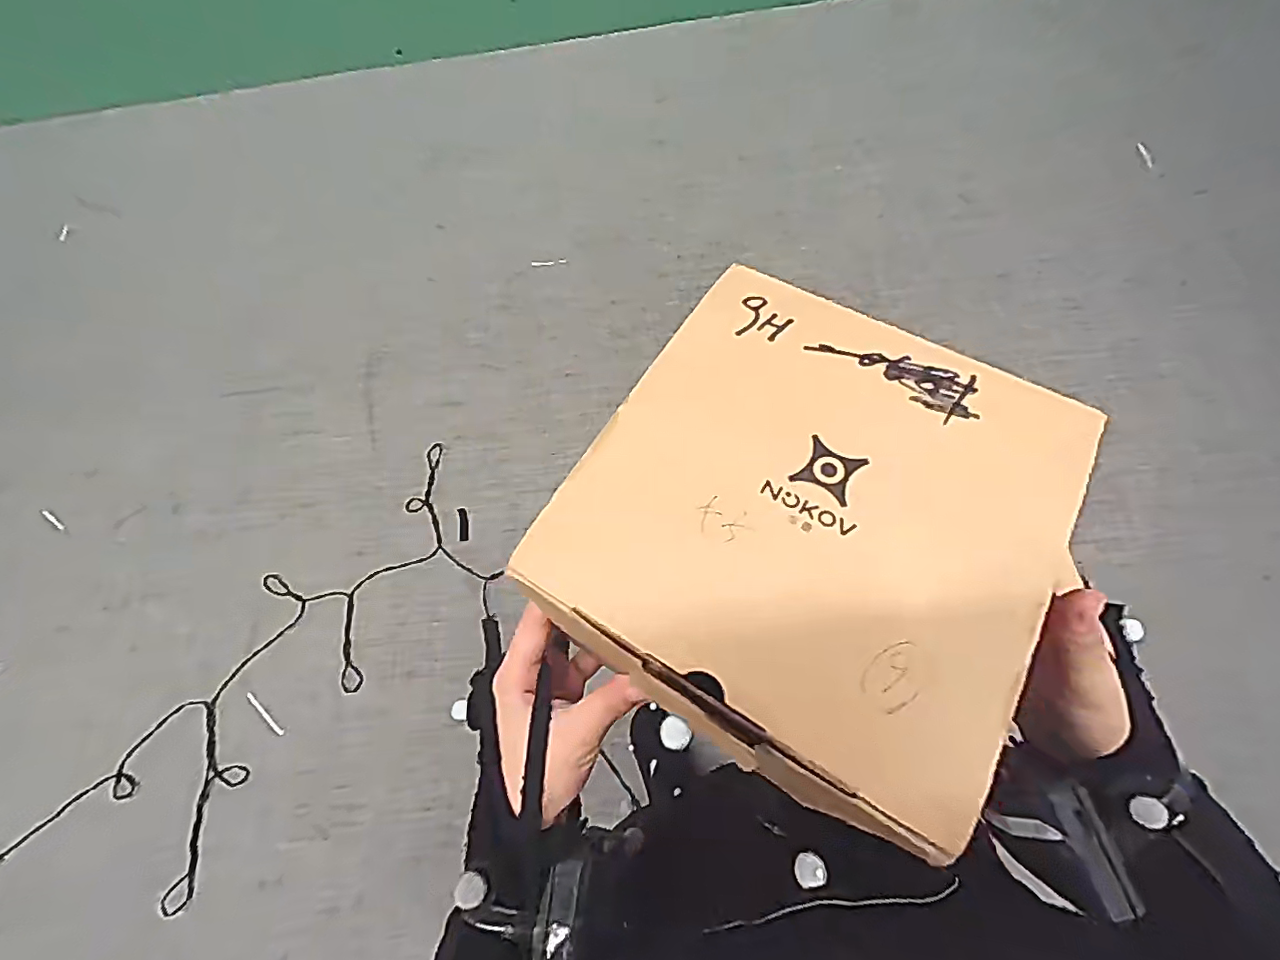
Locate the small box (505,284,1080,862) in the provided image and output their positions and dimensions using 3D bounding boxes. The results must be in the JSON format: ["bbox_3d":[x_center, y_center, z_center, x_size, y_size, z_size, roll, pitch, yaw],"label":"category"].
[{"bbox_3d":[0.066,0.044,0.281,0.168,0.176,0.179,30,70,15],"label":"small box"}]
